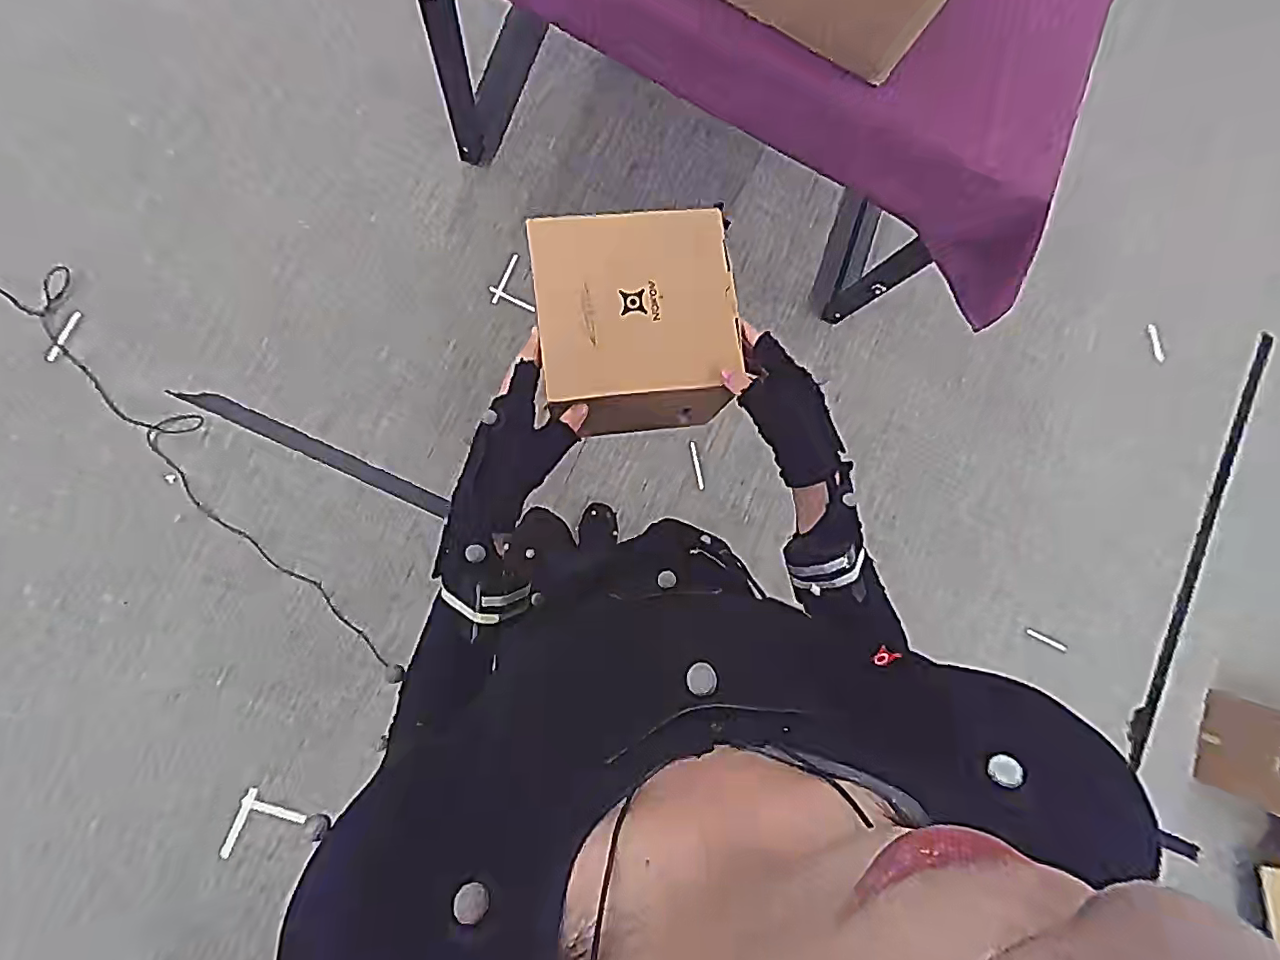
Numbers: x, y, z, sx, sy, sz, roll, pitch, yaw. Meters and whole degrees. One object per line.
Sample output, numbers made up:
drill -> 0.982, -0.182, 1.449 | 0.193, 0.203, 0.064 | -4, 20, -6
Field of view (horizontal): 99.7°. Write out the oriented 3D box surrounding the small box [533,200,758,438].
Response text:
small box -> -0.003, -0.145, 0.535 | 0.179, 0.176, 0.168 | -8, 82, -6
